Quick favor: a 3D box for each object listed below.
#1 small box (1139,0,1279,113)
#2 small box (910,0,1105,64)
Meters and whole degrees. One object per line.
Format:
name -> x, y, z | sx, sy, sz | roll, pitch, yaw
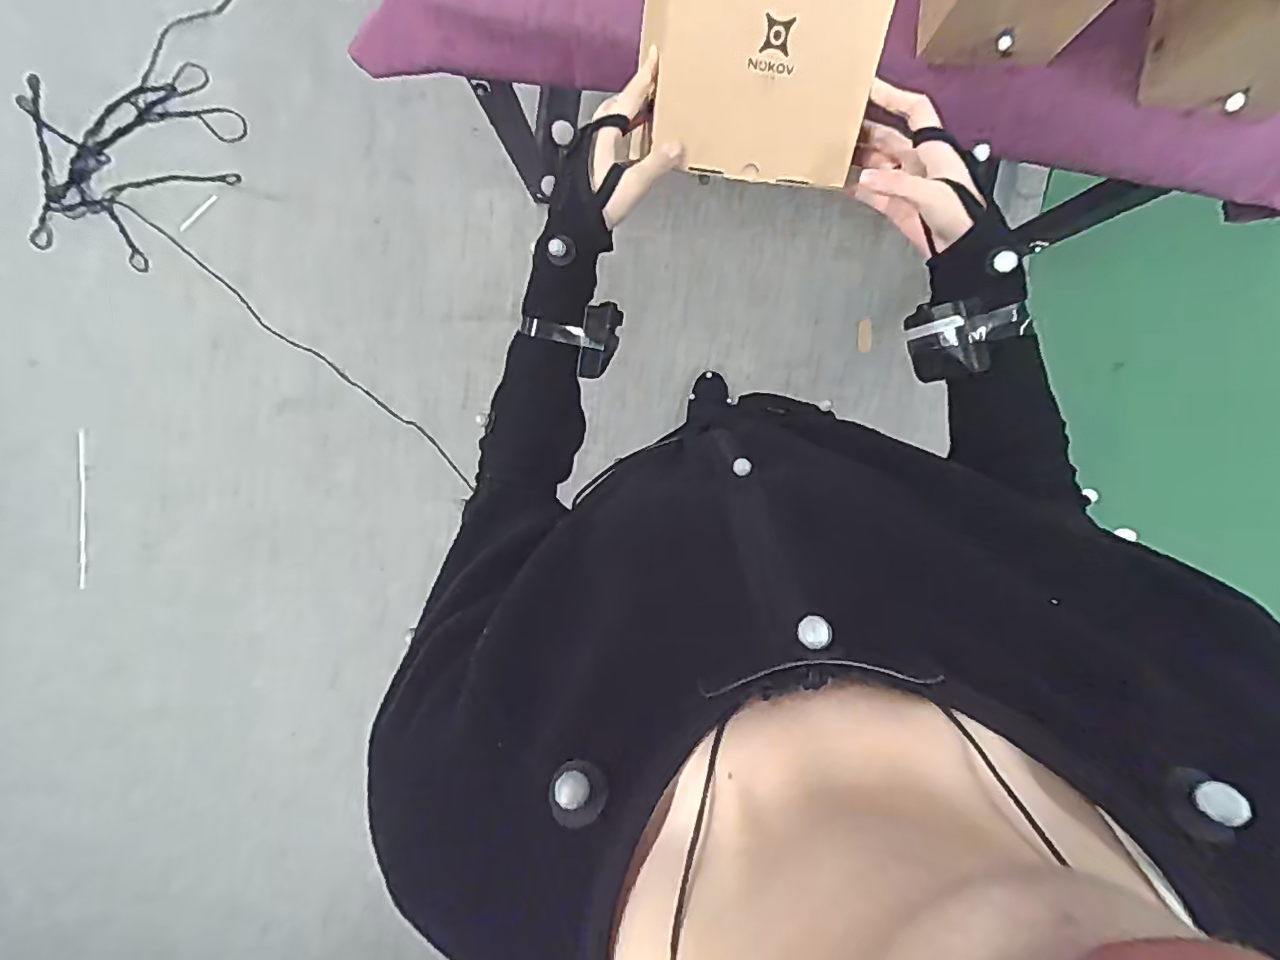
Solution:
small box -> 0.726, -0.541, 0.598 | 0.179, 0.176, 0.168 | 6, 96, 2
small box -> 0.432, -0.617, 0.605 | 0.168, 0.176, 0.179 | 5, 101, -1
